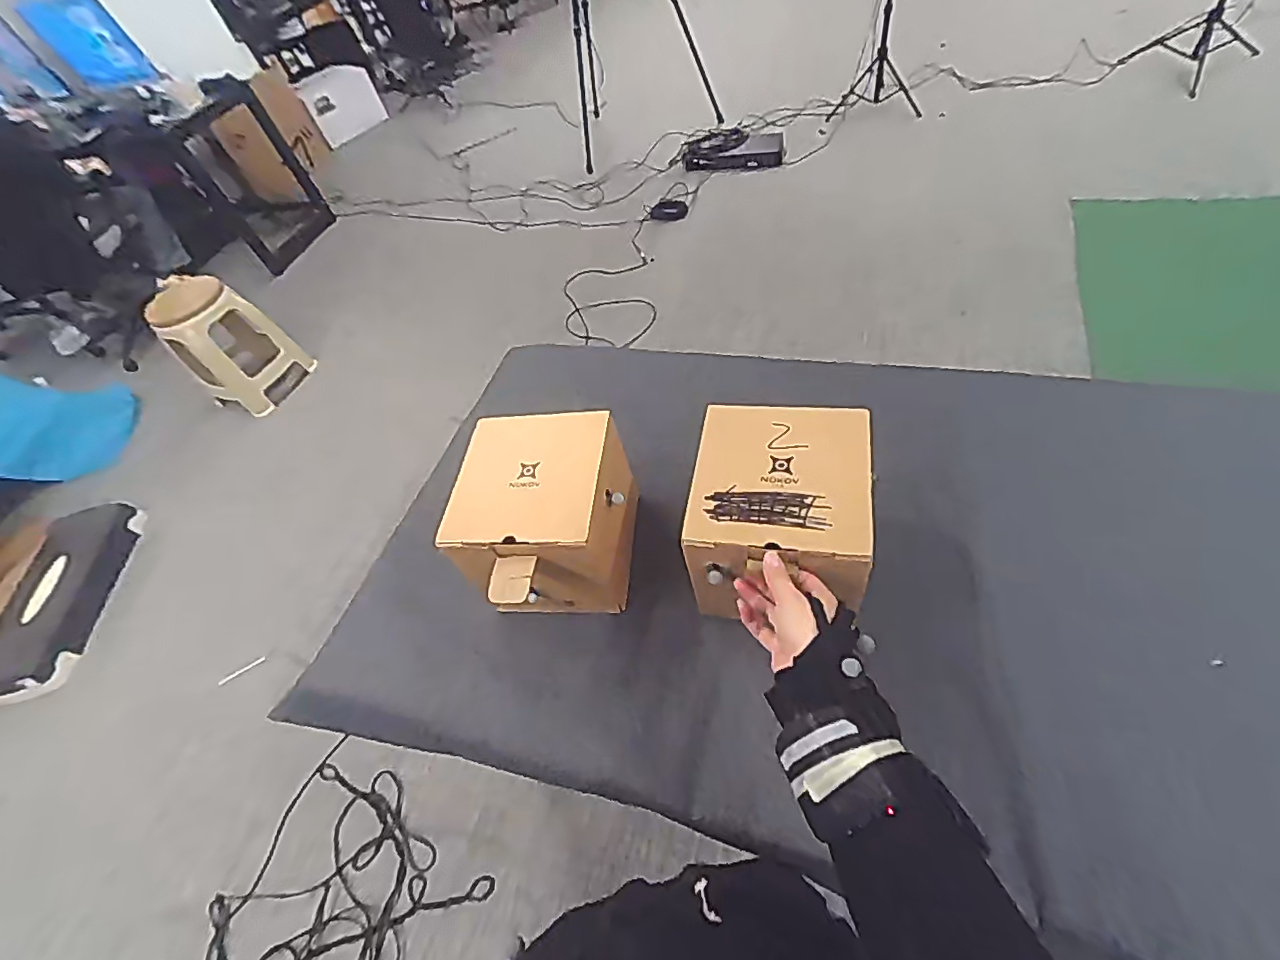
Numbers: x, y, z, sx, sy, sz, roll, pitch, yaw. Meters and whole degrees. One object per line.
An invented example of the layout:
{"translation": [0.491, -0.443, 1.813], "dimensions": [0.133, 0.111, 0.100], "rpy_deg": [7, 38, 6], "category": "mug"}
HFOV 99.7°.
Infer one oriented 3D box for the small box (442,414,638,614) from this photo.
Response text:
{"translation": [-0.101, 0.043, 0.645], "dimensions": [0.168, 0.176, 0.179], "rpy_deg": [-2, 53, 12], "category": "small box"}
